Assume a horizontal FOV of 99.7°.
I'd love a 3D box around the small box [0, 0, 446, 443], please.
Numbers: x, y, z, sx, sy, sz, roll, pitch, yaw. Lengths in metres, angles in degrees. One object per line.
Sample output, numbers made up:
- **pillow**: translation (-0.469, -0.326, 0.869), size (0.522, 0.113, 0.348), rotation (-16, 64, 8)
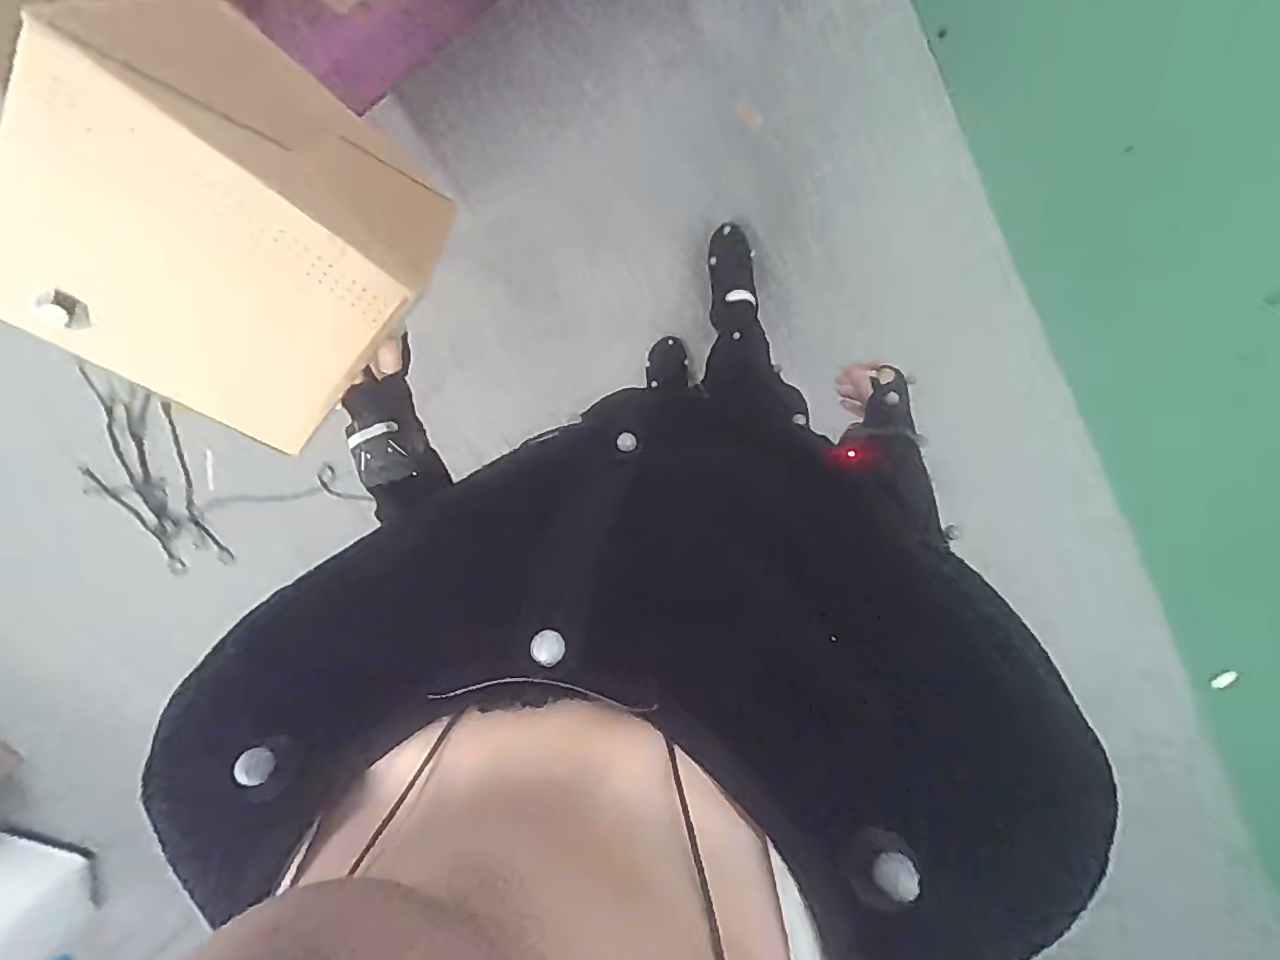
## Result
- **small box**: translation (-0.244, -0.163, 0.346), size (0.176, 0.168, 0.179), rotation (-36, 129, 24)
